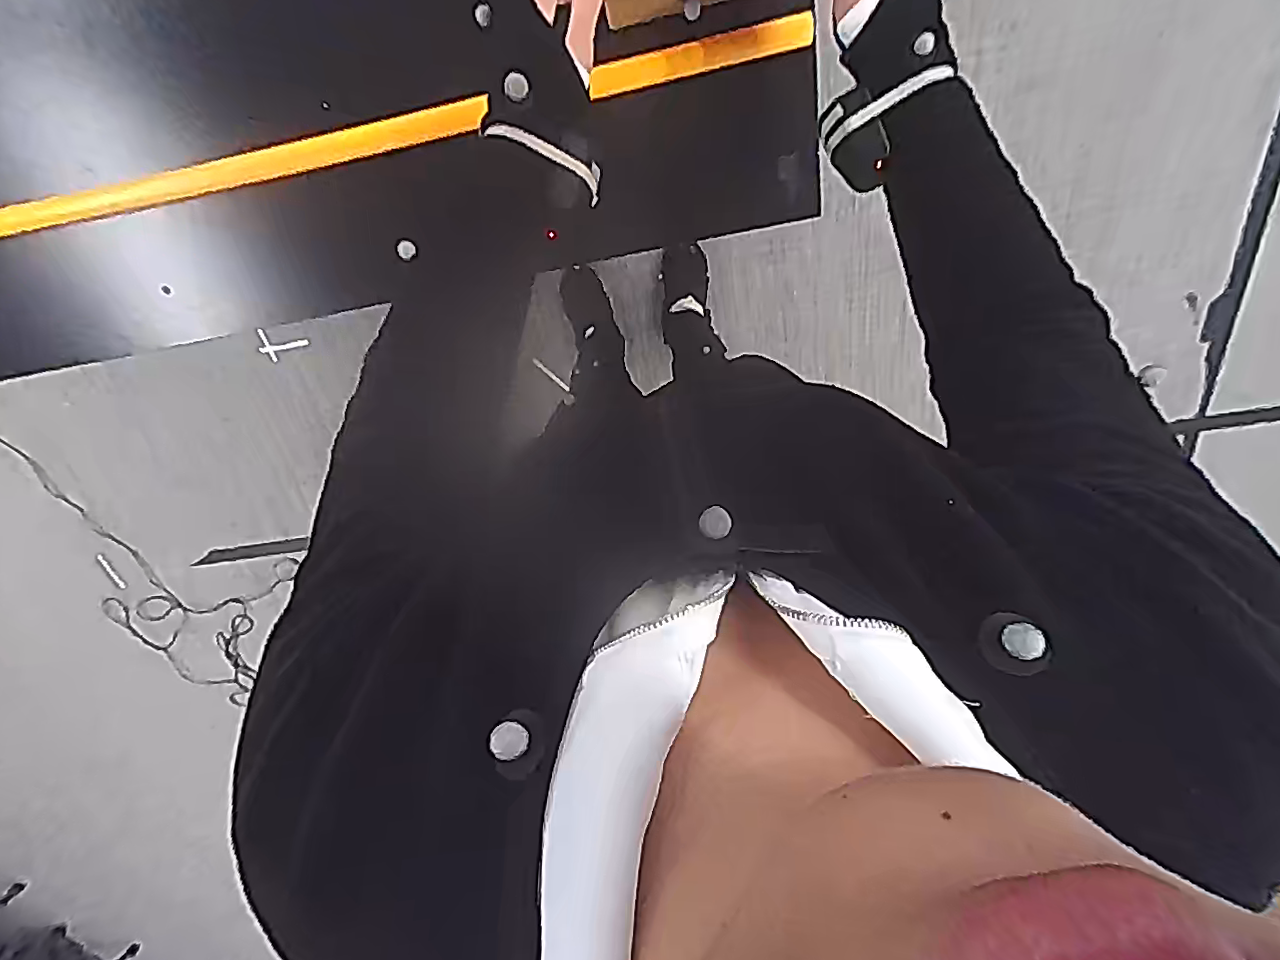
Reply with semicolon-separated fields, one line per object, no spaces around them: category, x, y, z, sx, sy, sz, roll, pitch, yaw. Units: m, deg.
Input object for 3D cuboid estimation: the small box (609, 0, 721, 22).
small box;0.035;-0.499;0.415;0.168;0.176;0.179;-9;118;6
